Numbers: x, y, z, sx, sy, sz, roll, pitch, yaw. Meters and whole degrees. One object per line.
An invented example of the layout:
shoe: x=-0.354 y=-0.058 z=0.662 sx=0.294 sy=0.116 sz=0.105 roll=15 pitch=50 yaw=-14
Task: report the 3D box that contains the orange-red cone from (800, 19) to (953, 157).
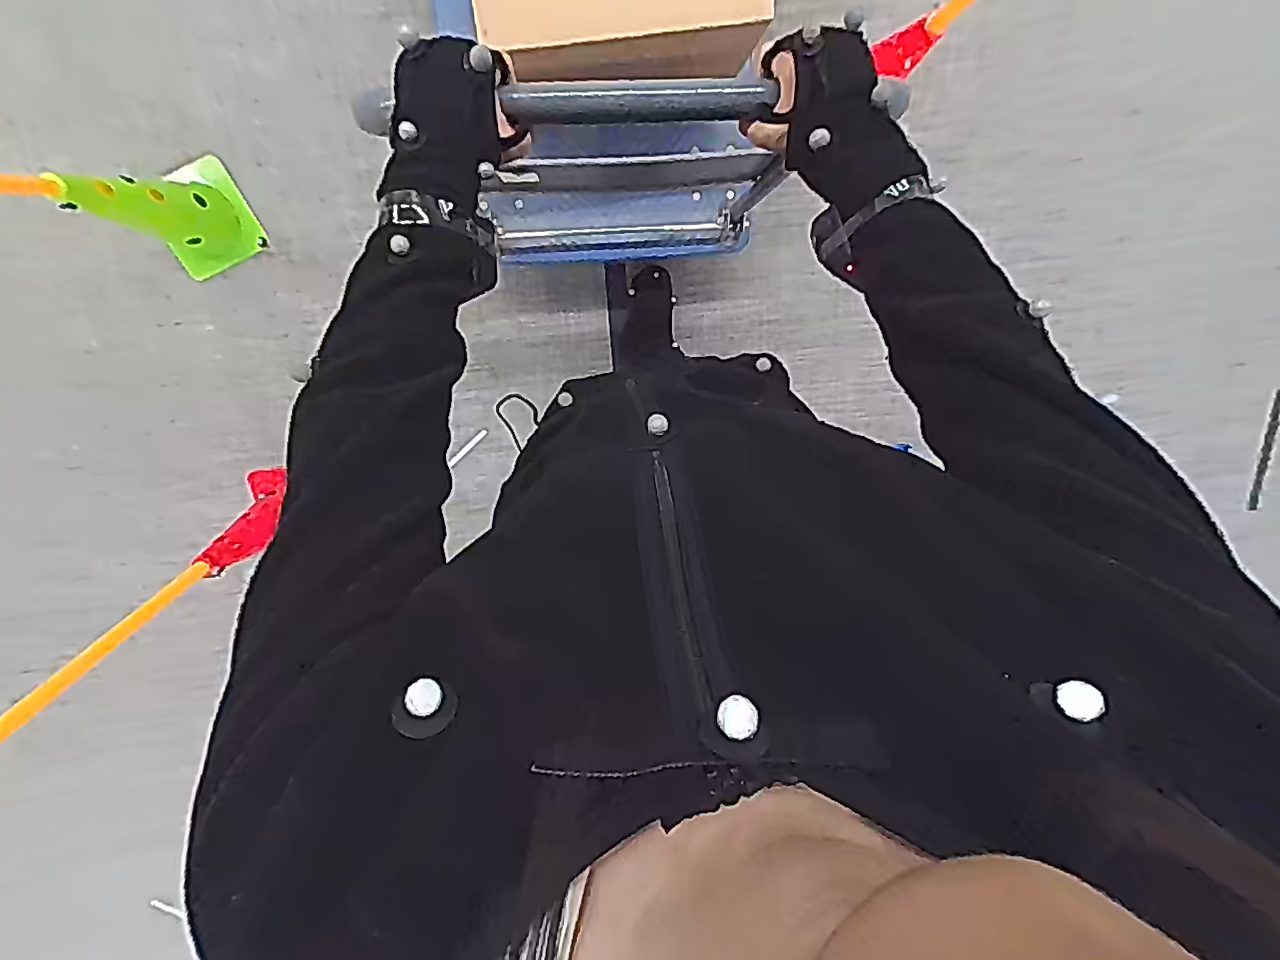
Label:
orange-red cone: x=0.478 y=-0.784 z=1.044 sx=0.199 sy=0.360 sz=0.198 roll=0 pitch=108 yaw=-6
